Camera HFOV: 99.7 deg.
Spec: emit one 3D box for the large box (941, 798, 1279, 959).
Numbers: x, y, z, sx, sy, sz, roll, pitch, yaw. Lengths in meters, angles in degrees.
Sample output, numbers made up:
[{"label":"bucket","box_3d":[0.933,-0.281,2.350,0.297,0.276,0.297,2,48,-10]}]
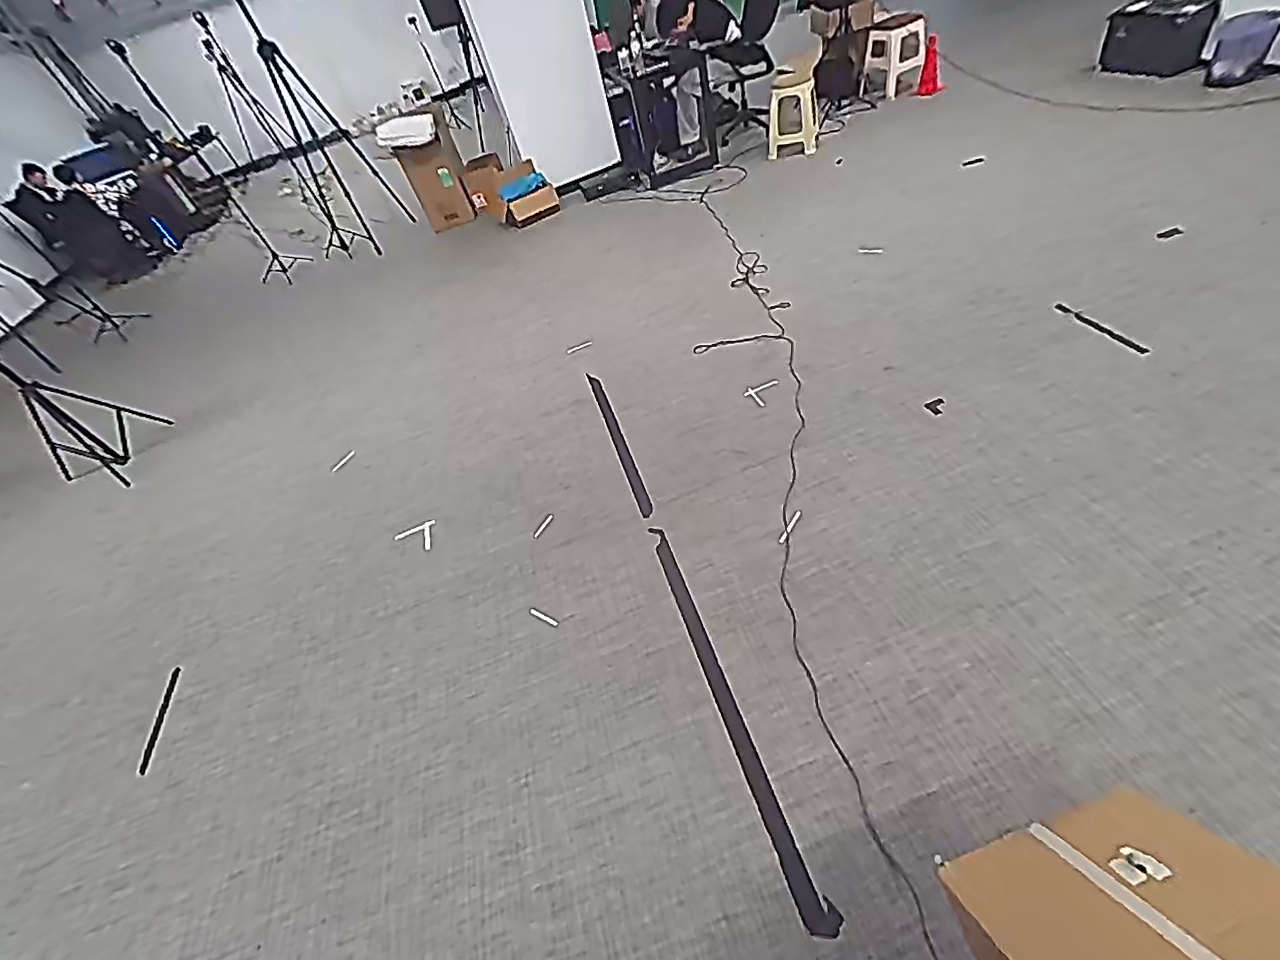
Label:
[{"label":"large box","box_3d":[0.635,0.640,0.584,0.320,0.408,0.320,-22,82,-1]}]
